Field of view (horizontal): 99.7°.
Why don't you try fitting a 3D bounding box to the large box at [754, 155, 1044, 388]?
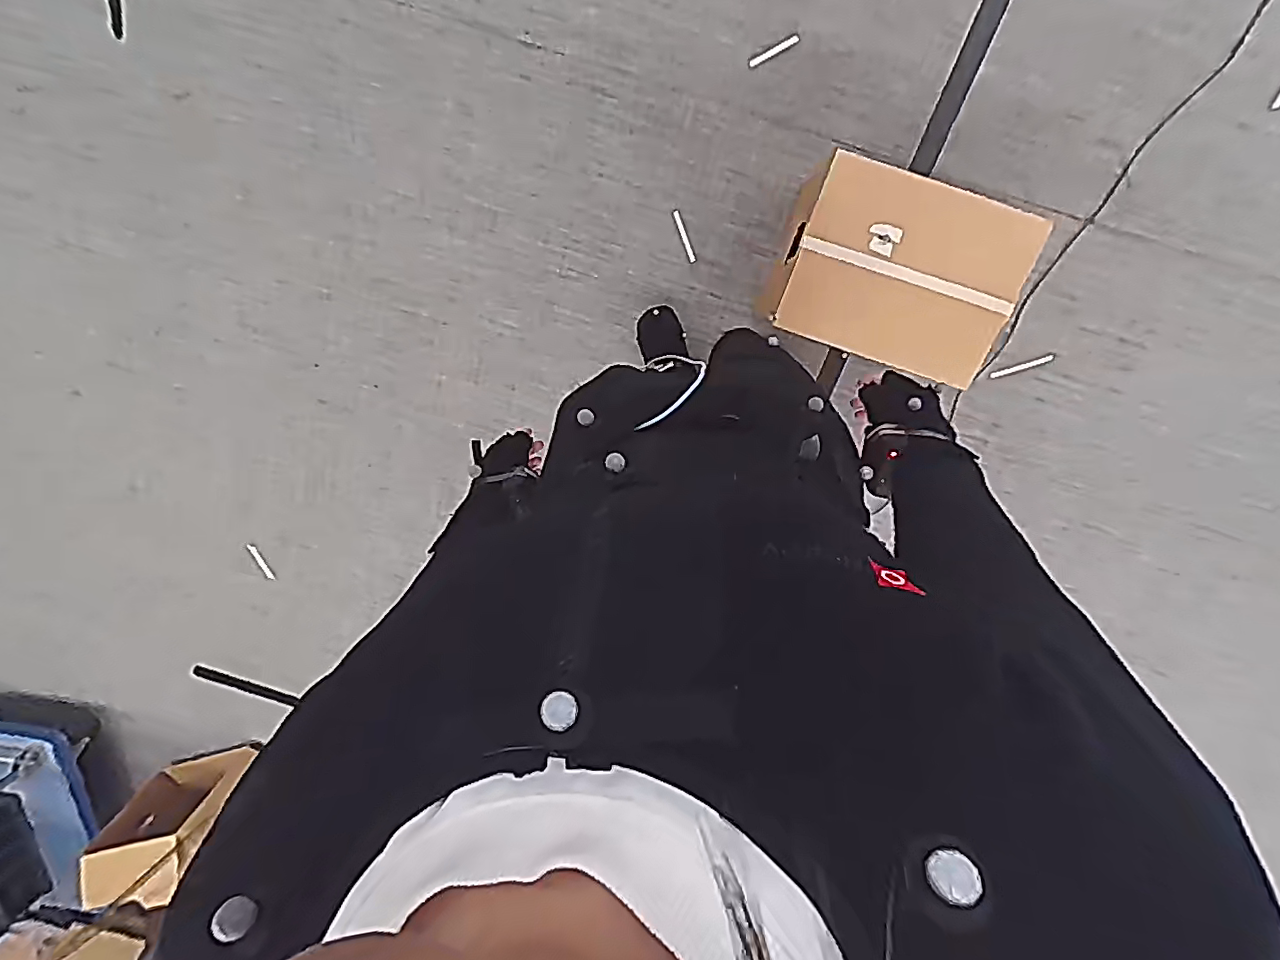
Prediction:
[{"bbox_3d":[0.490,-0.419,1.128,0.408,0.320,0.320,19,109,1],"label":"large box"}]
